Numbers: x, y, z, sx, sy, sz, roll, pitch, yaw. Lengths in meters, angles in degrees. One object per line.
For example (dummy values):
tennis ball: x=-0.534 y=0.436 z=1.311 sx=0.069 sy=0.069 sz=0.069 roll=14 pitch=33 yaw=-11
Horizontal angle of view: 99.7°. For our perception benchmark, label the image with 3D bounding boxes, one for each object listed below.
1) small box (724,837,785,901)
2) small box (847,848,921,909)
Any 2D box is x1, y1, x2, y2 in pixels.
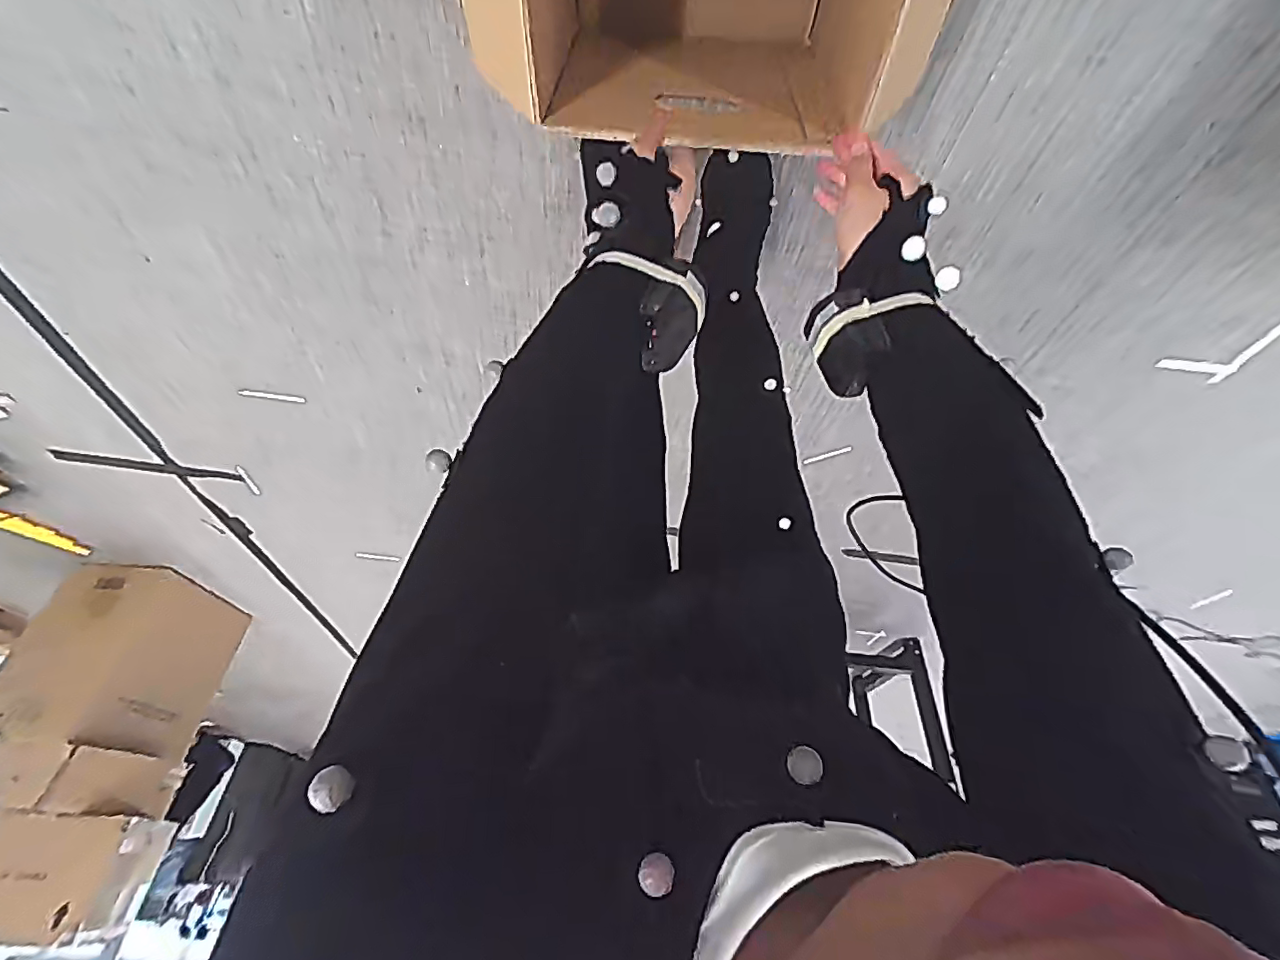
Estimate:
small box: x=0.400 y=1.373 z=1.912 sx=0.168 sy=0.176 sz=0.179 roll=7 pitch=143 yaw=-5
small box: x=0.872 y=1.439 z=1.954 sx=0.168 sy=0.176 sz=0.179 roll=11 pitch=142 yaw=-8
